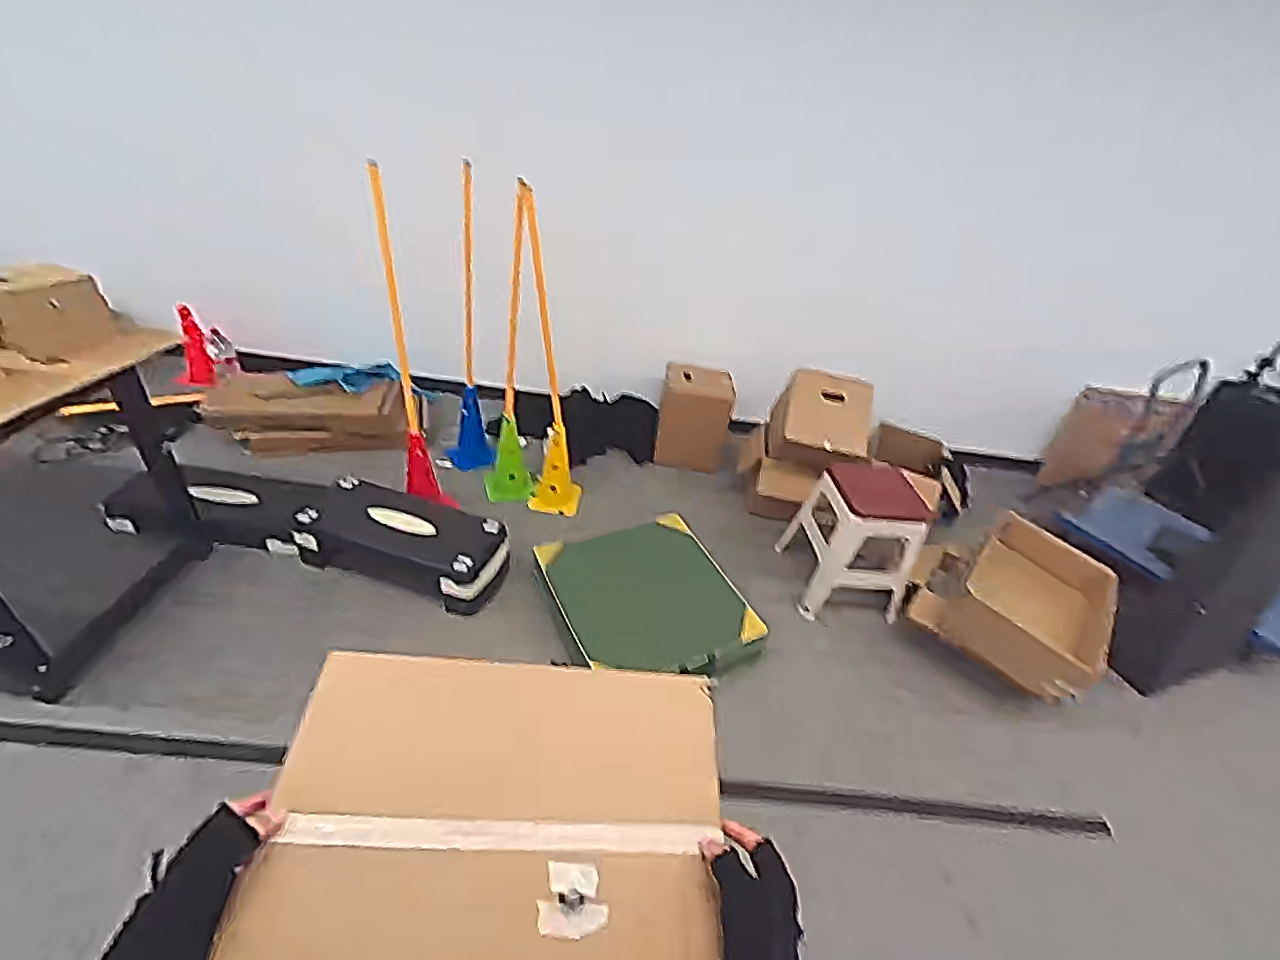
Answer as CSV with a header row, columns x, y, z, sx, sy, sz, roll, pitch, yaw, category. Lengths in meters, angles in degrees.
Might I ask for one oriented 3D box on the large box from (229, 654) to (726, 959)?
x,y,z,sx,sy,sz,roll,pitch,yaw,category
-0.147,0.421,0.611,0.408,0.320,0.320,7,48,-7,large box
